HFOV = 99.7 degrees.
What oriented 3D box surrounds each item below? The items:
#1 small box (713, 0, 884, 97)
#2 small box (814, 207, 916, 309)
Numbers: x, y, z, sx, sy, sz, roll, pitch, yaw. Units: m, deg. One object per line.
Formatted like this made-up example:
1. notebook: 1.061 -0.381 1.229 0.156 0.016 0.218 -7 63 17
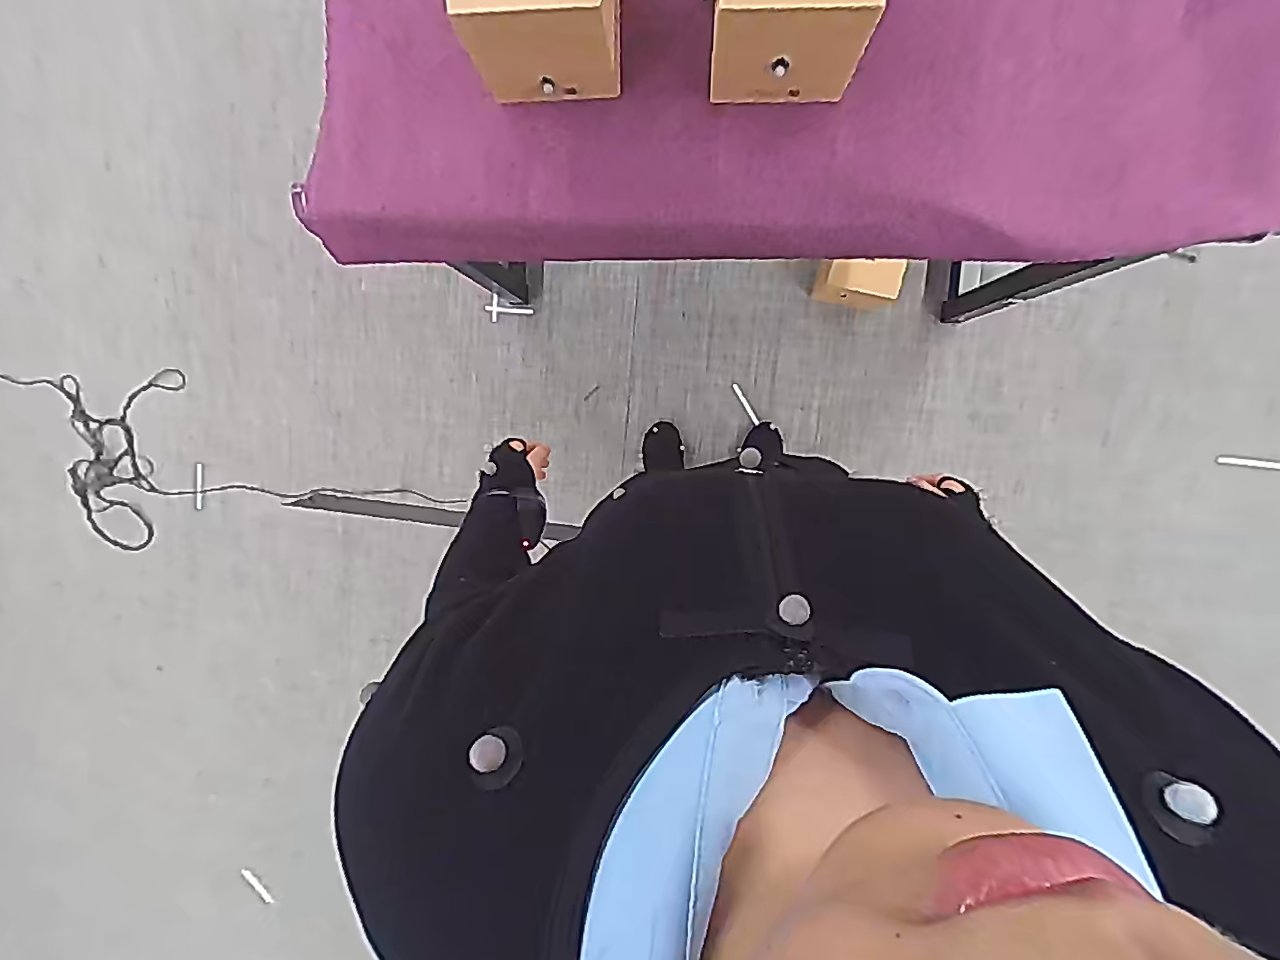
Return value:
1. small box: 0.173 -0.567 0.607 0.168 0.176 0.179 3 97 3
2. small box: 0.538 -0.532 1.320 0.168 0.176 0.179 14 97 3
